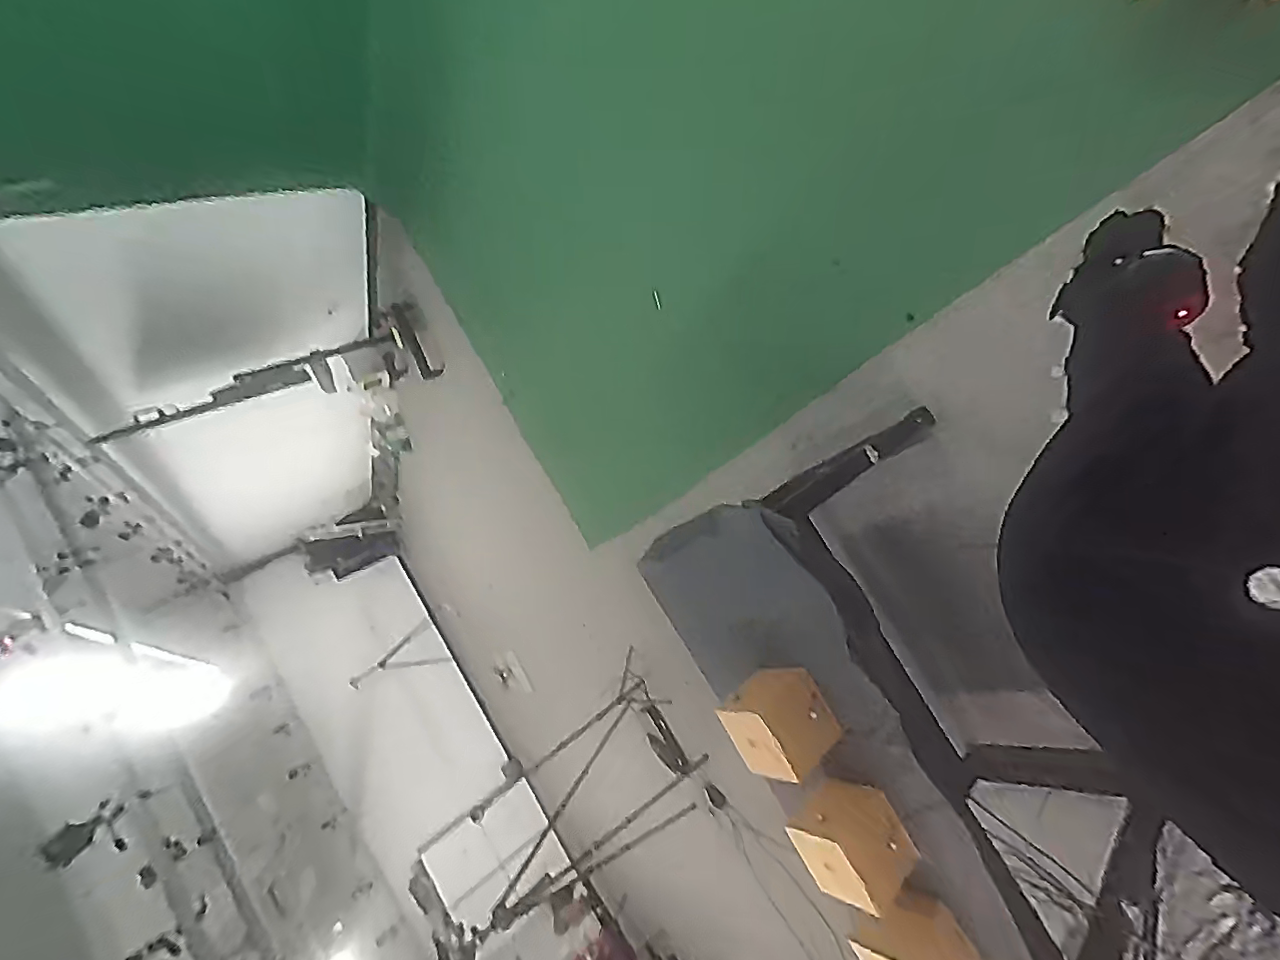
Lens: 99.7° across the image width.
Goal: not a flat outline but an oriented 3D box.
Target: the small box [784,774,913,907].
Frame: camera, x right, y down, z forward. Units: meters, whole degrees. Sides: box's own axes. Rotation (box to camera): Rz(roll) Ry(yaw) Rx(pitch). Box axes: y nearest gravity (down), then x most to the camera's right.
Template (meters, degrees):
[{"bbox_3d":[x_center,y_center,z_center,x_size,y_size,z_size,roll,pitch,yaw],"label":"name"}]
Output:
[{"bbox_3d":[0.467,0.792,1.213,0.168,0.176,0.179,59,147,4],"label":"small box"}]

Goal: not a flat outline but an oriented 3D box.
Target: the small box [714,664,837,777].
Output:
[{"bbox_3d":[0.310,0.539,1.236,0.168,0.176,0.179,59,147,3],"label":"small box"}]
